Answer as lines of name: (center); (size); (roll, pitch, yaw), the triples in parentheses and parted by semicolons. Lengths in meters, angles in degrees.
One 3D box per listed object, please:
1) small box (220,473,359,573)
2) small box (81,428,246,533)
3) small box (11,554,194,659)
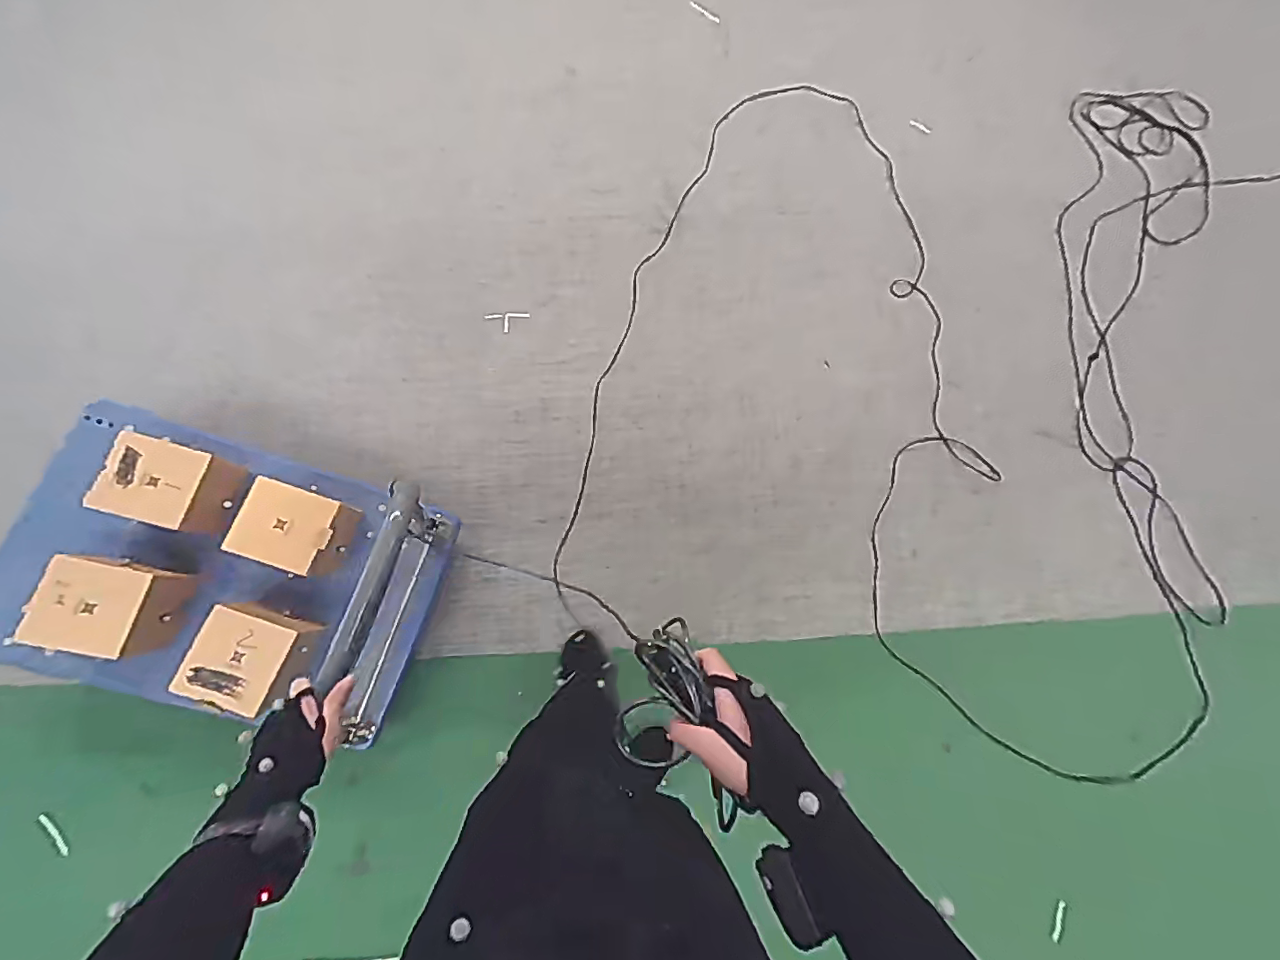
small box: (-0.757, 0.104, 1.192); (0.179, 0.176, 0.168); (20, 75, -9)
small box: (-1.000, 0.010, 1.154); (0.179, 0.176, 0.168); (17, 76, -10)
small box: (-1.063, 0.252, 1.092); (0.179, 0.176, 0.168); (15, 76, -9)
